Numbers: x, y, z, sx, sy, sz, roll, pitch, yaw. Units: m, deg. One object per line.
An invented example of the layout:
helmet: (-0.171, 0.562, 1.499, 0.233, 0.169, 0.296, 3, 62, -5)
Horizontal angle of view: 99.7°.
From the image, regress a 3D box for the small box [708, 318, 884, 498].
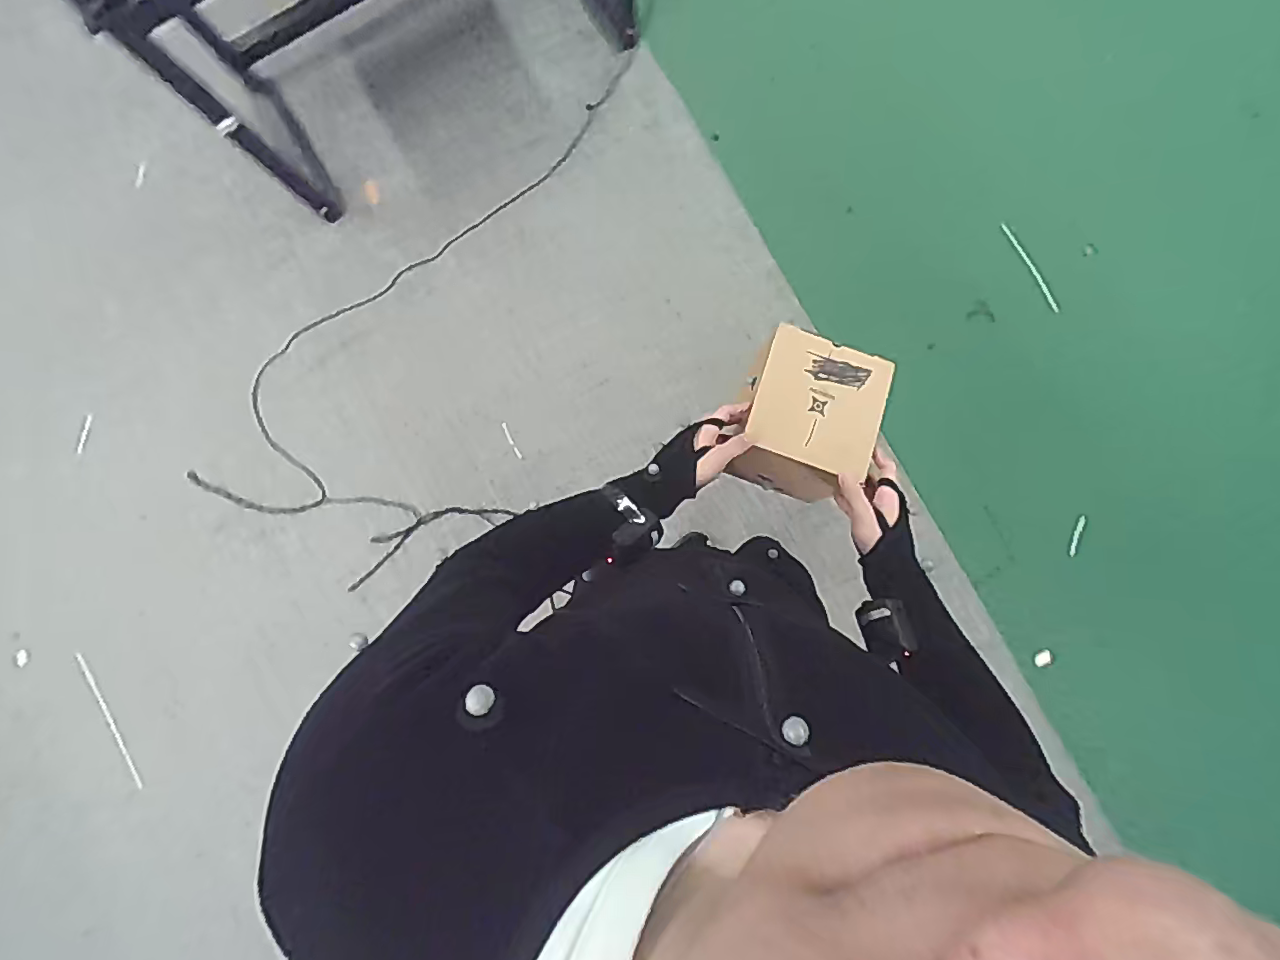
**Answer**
small box: (0.207, -0.089, 0.759, 0.168, 0.176, 0.179, 19, 78, -1)
